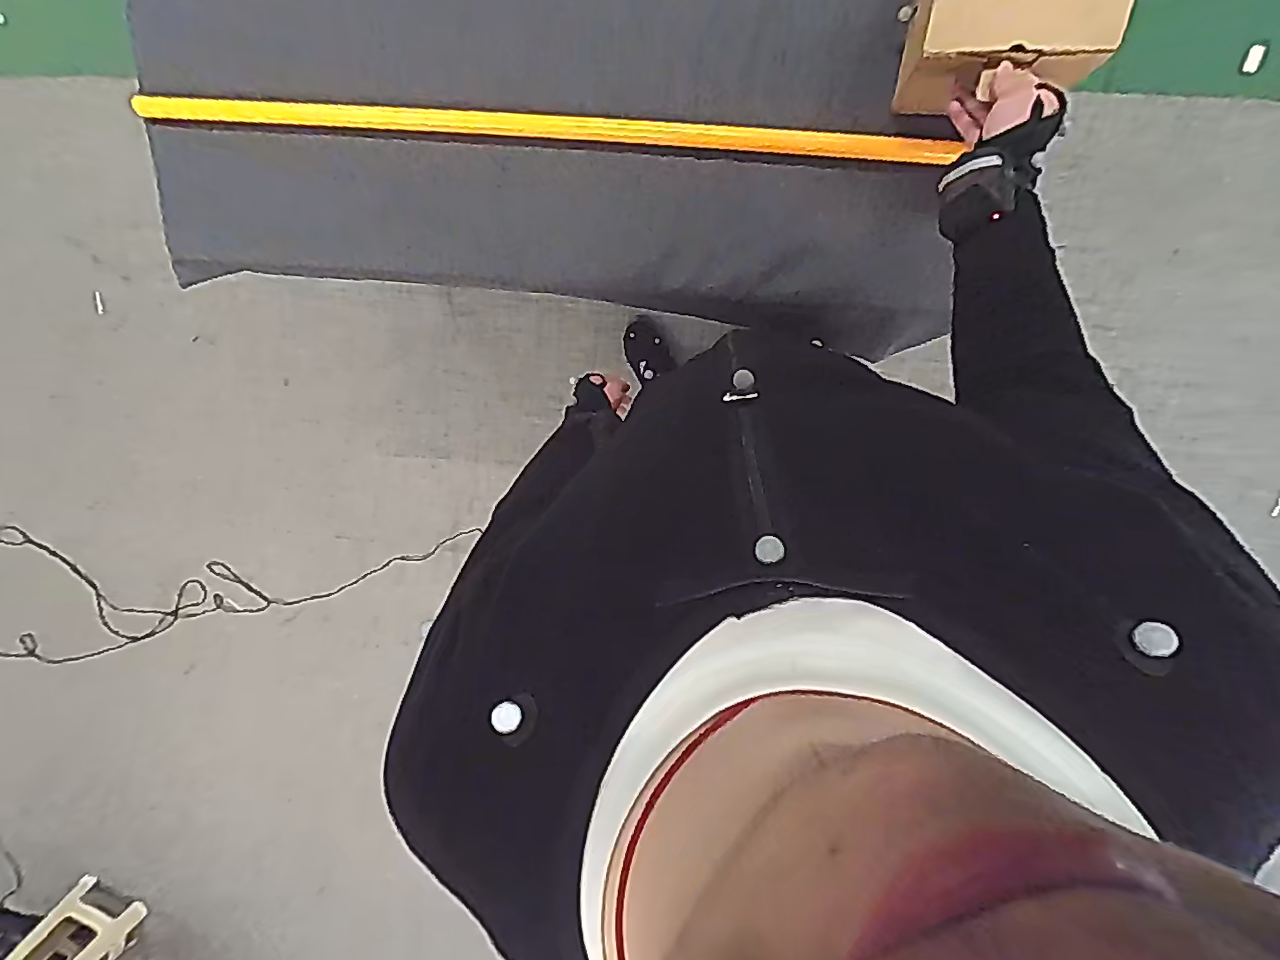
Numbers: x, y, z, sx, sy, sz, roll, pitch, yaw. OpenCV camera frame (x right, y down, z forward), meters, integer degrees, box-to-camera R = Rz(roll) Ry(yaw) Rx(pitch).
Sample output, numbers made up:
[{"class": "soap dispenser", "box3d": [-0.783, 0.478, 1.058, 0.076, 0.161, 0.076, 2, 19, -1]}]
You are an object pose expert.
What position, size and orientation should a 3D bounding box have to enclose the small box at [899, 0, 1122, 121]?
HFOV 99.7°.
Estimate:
[{"class": "small box", "box3d": [0.380, -0.498, 0.565, 0.168, 0.176, 0.179, 8, 108, 16]}]
